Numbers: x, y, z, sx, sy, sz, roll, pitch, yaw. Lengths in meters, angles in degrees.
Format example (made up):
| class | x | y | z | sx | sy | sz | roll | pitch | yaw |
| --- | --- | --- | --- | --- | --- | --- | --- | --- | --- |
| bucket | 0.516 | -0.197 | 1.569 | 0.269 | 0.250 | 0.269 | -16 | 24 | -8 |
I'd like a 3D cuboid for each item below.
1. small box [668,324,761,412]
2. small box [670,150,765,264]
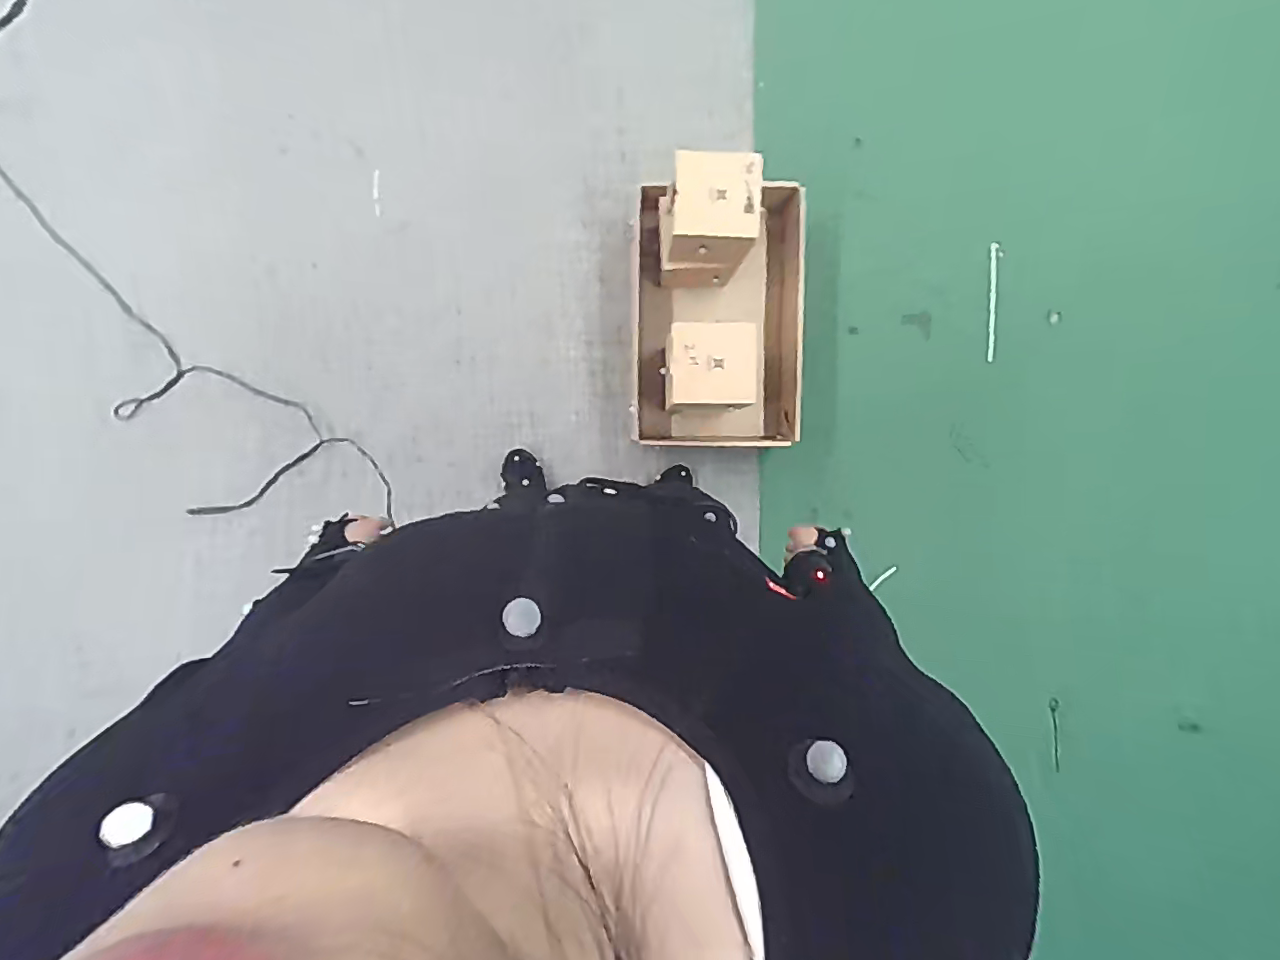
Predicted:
| class | x | y | z | sx | sy | sz | roll | pitch | yaw |
| --- | --- | --- | --- | --- | --- | --- | --- | --- | --- |
| small box | 0.154 | -0.236 | 1.166 | 0.179 | 0.176 | 0.168 | 0 | 93 | 0 |
| small box | 0.155 | -0.566 | 1.141 | 0.179 | 0.176 | 0.168 | 2 | 94 | 0 |
